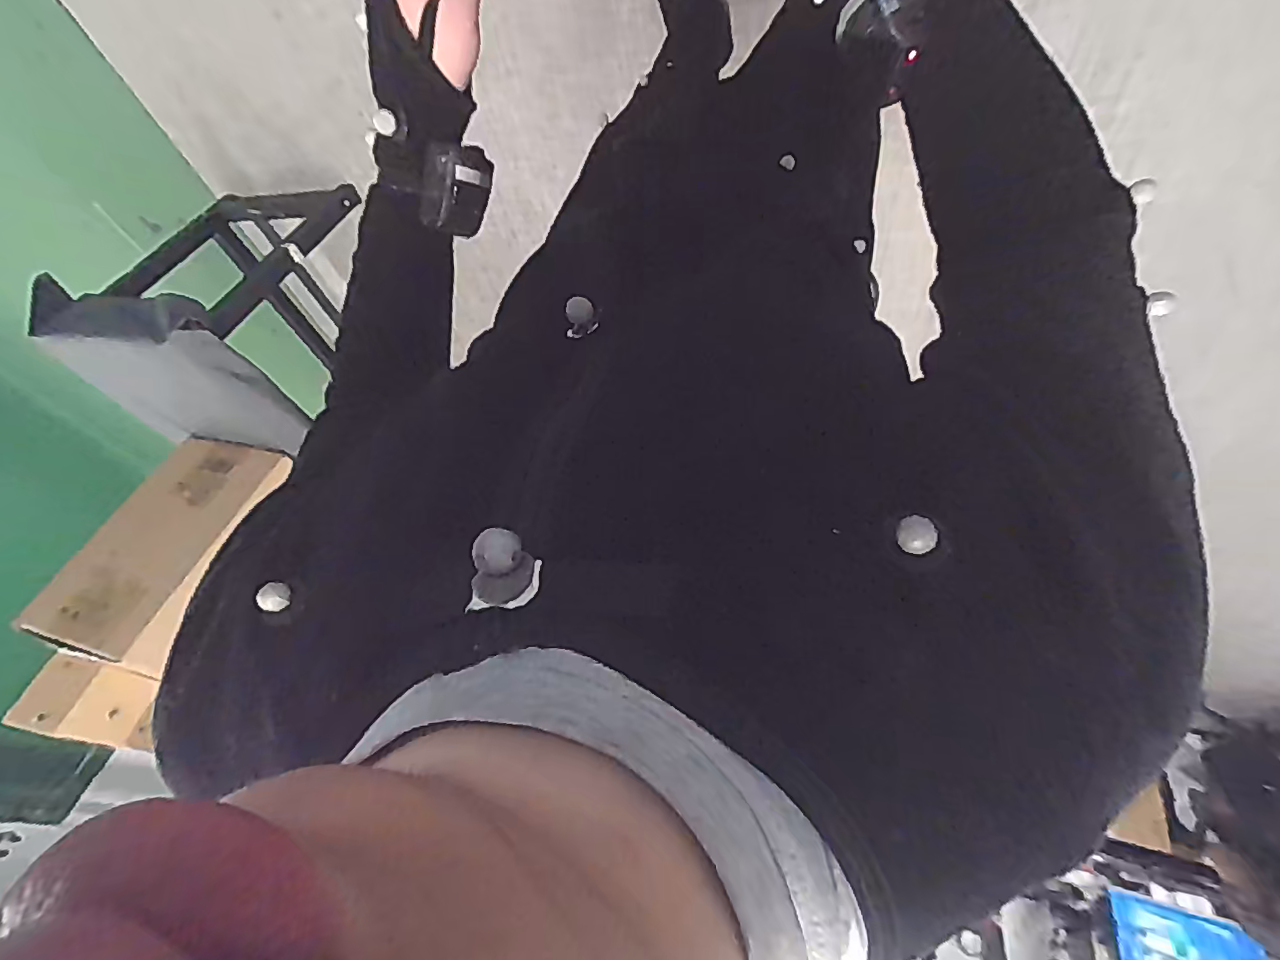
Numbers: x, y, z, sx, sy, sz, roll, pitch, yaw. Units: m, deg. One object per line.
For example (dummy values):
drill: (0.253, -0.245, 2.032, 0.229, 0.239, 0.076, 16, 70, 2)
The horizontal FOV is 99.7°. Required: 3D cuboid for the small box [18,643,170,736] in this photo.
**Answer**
small box: (-1.375, 0.535, 1.378, 0.168, 0.176, 0.179, 6, 147, 14)
